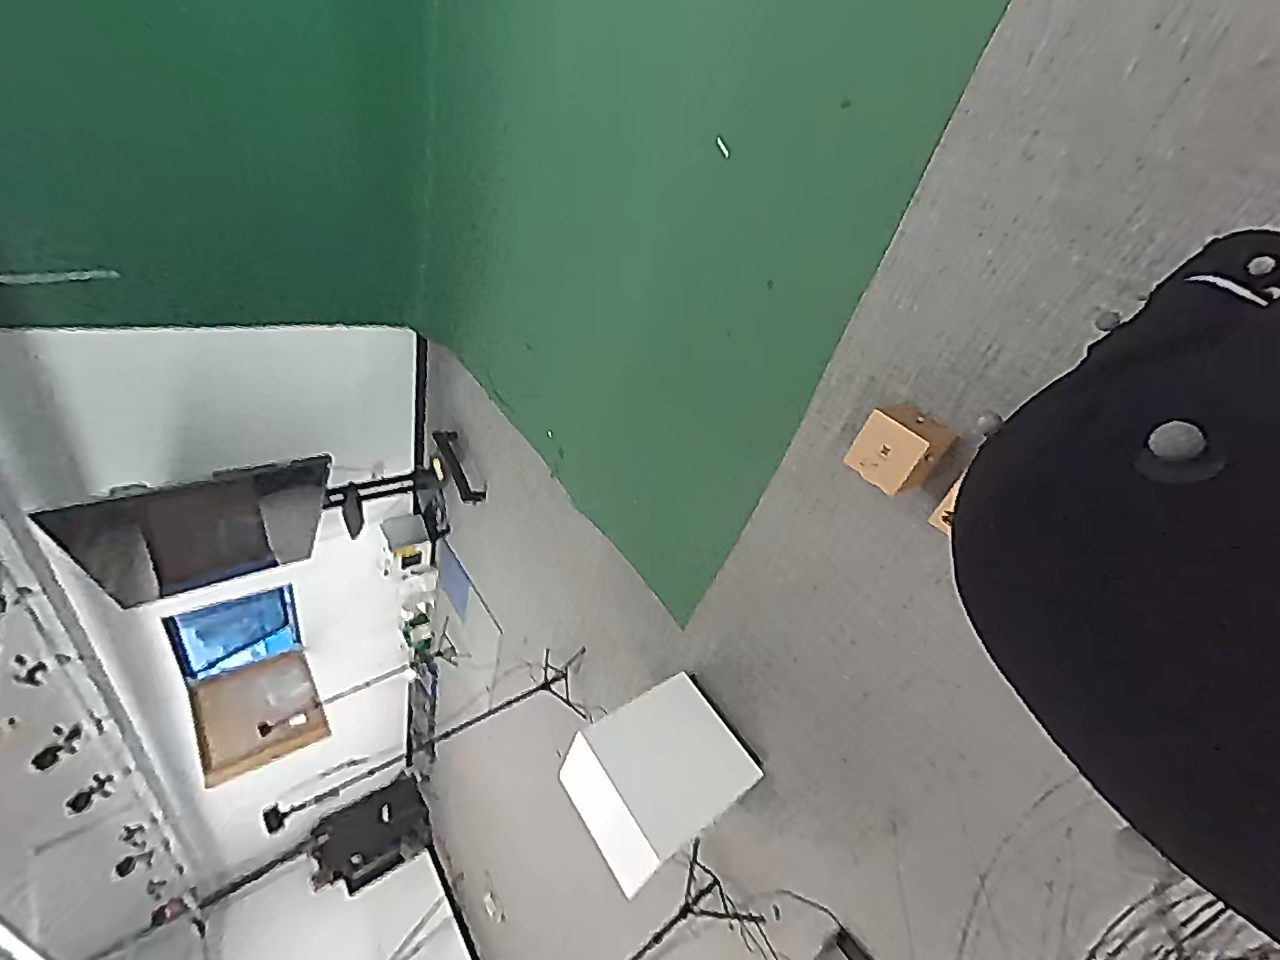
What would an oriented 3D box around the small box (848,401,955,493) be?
[{"bbox_3d":[0.699,-0.096,1.435,0.168,0.176,0.179,46,133,34],"label":"small box"}]
